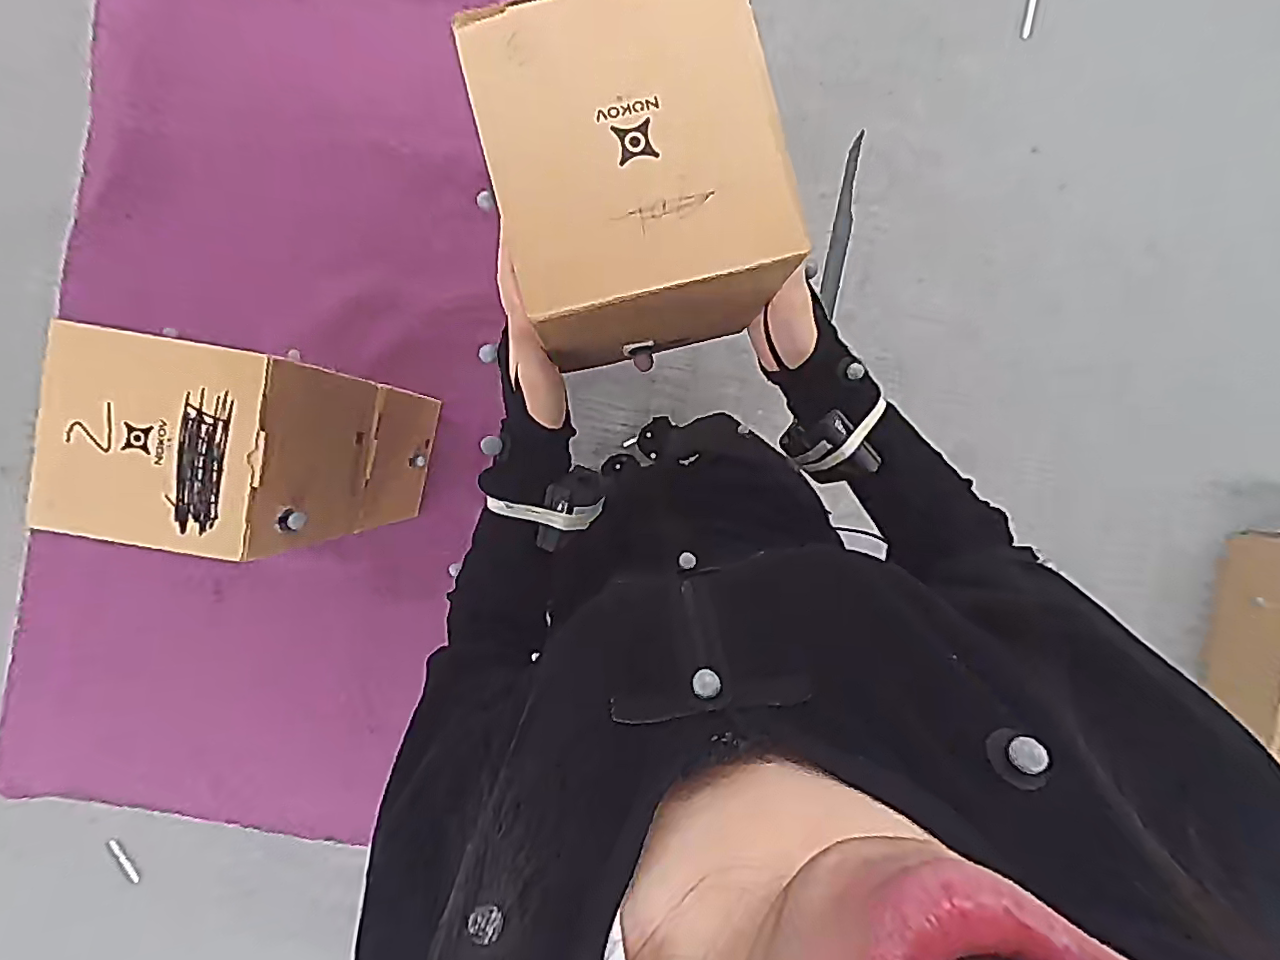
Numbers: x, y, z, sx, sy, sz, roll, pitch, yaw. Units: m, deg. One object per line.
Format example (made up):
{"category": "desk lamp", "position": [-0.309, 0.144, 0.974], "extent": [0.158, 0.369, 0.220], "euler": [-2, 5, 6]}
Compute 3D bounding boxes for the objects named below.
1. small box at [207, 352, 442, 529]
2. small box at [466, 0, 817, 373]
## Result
{"category": "small box", "position": [-0.372, -0.045, 0.668], "extent": [0.179, 0.176, 0.168], "euler": [12, 93, -1]}
{"category": "small box", "position": [-0.002, -0.192, 0.383], "extent": [0.168, 0.176, 0.179], "euler": [-15, 91, -1]}
